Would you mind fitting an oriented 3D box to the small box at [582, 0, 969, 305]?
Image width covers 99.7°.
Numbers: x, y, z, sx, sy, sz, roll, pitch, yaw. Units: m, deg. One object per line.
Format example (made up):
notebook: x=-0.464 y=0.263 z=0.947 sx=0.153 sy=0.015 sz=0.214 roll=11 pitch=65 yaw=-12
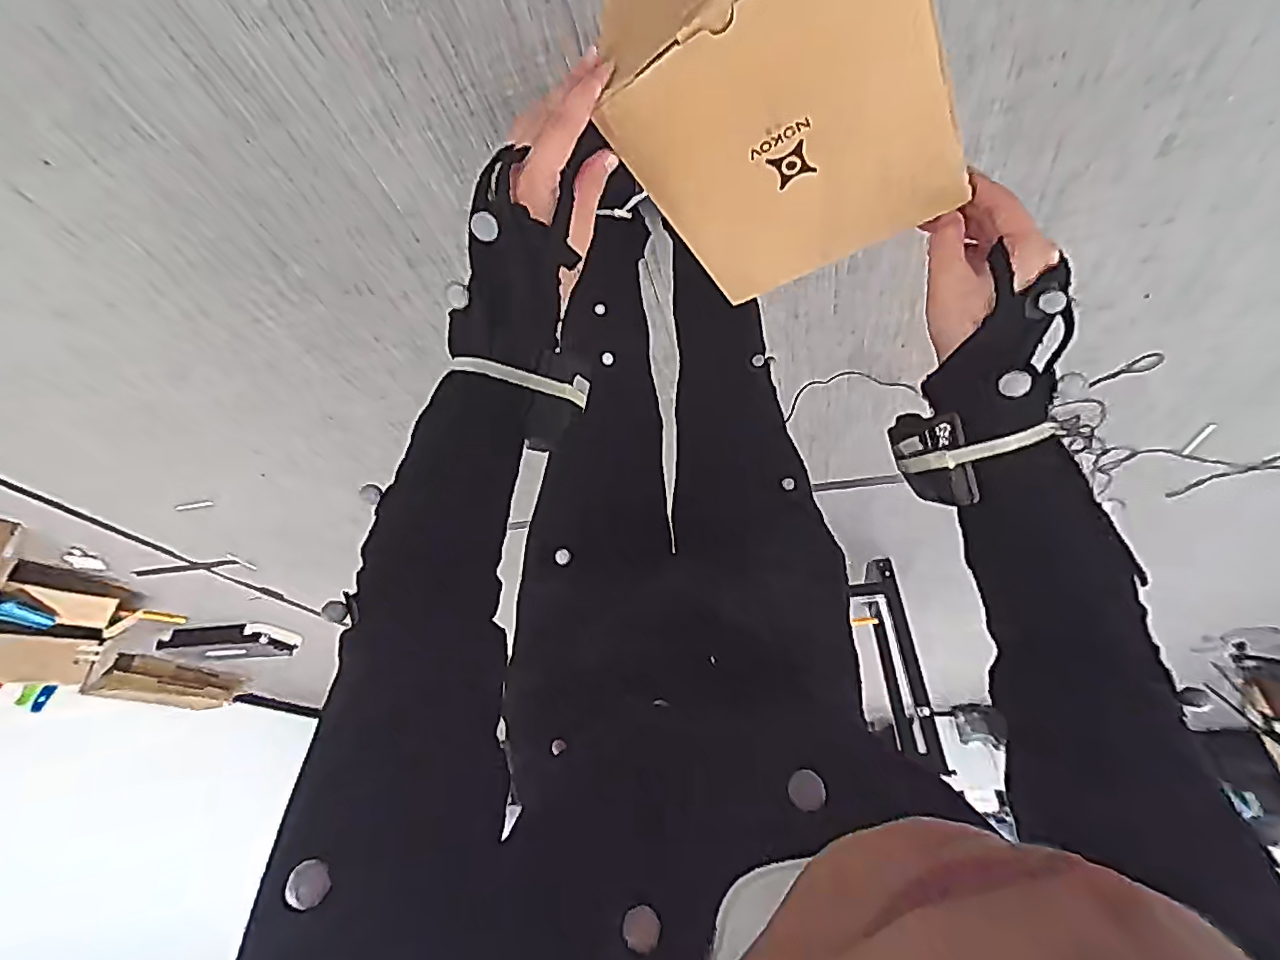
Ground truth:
small box: x=0.089 y=-0.254 z=0.341 sx=0.168 sy=0.176 sz=0.179 roll=-15 pitch=148 yaw=34
